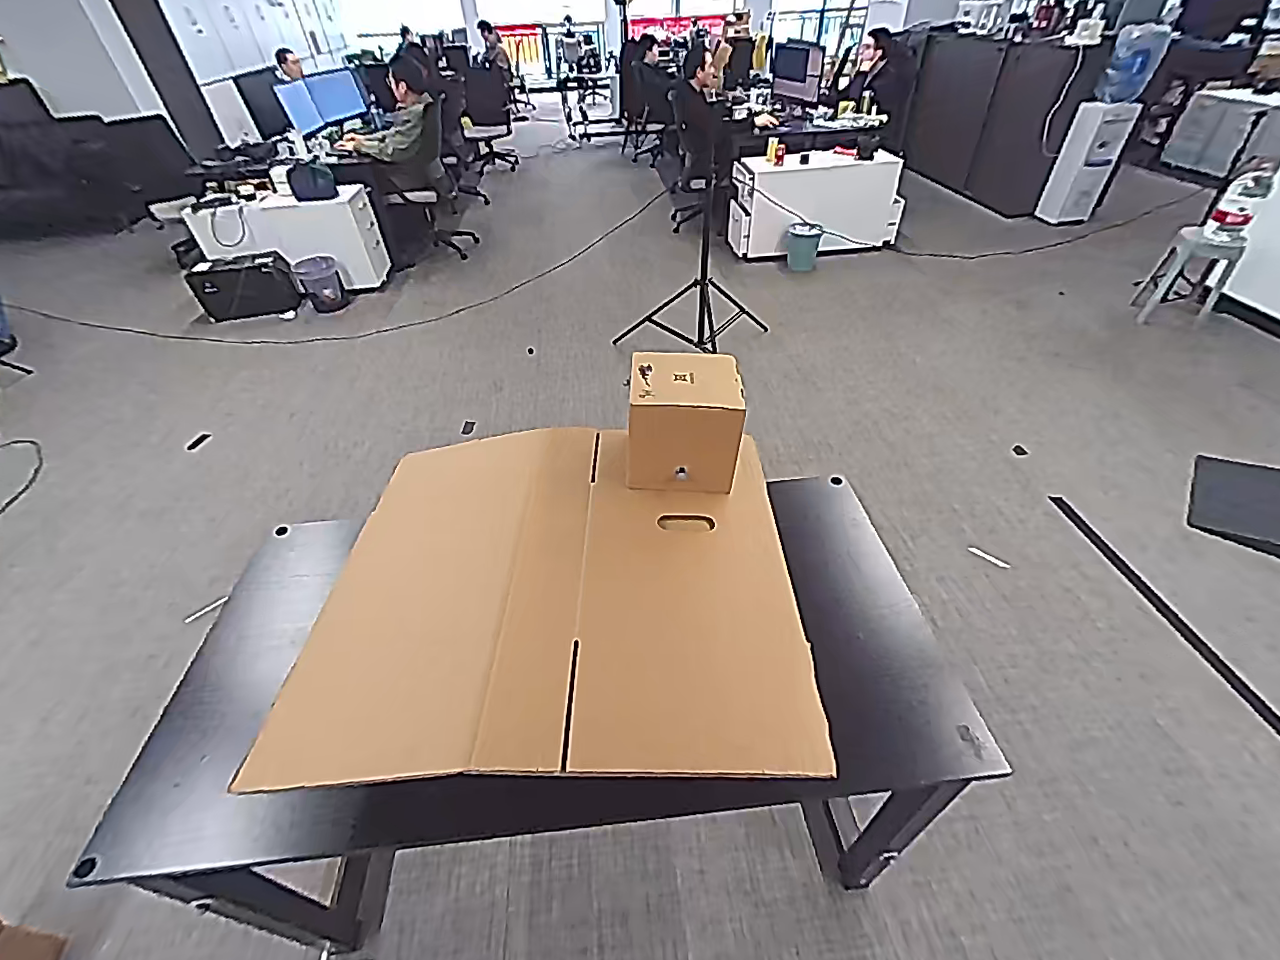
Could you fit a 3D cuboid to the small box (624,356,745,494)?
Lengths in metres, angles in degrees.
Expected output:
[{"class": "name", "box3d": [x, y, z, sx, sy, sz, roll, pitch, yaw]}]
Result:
[{"class": "small box", "box3d": [0.067, -0.092, 0.912, 0.179, 0.176, 0.168, 3, 40, -1]}]

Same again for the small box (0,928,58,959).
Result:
[{"class": "small box", "box3d": [-1.345, 1.035, 1.078, 0.168, 0.176, 0.179, -8, 43, -6]}]
